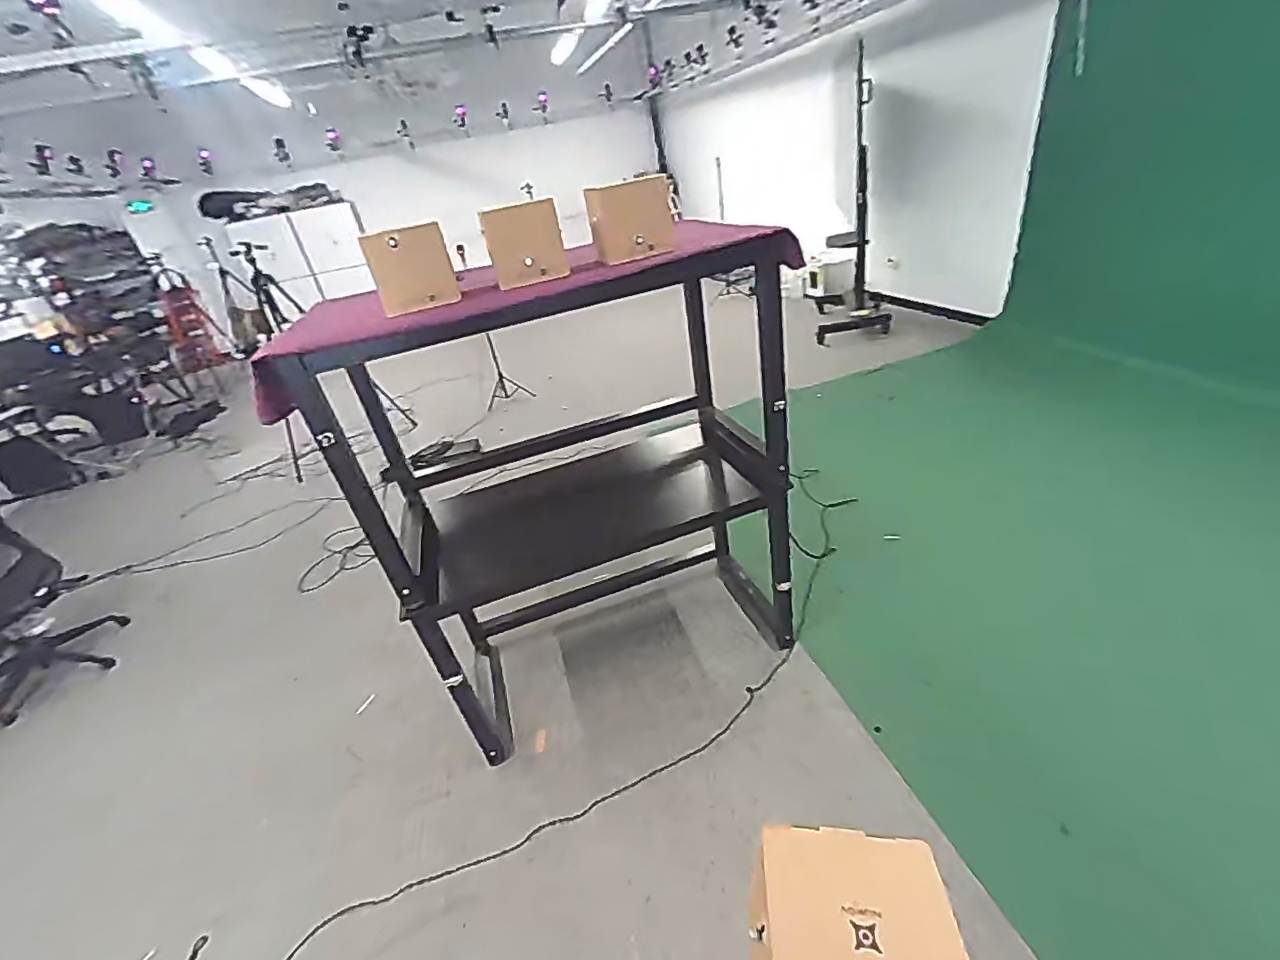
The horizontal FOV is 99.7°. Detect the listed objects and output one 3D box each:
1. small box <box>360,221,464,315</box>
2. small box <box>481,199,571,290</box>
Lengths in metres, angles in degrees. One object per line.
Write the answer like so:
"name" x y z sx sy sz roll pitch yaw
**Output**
"small box" -0.509 -0.484 1.231 0.168 0.176 0.179 -18 29 -11
"small box" -0.271 -0.557 1.279 0.168 0.176 0.179 -17 30 -10
